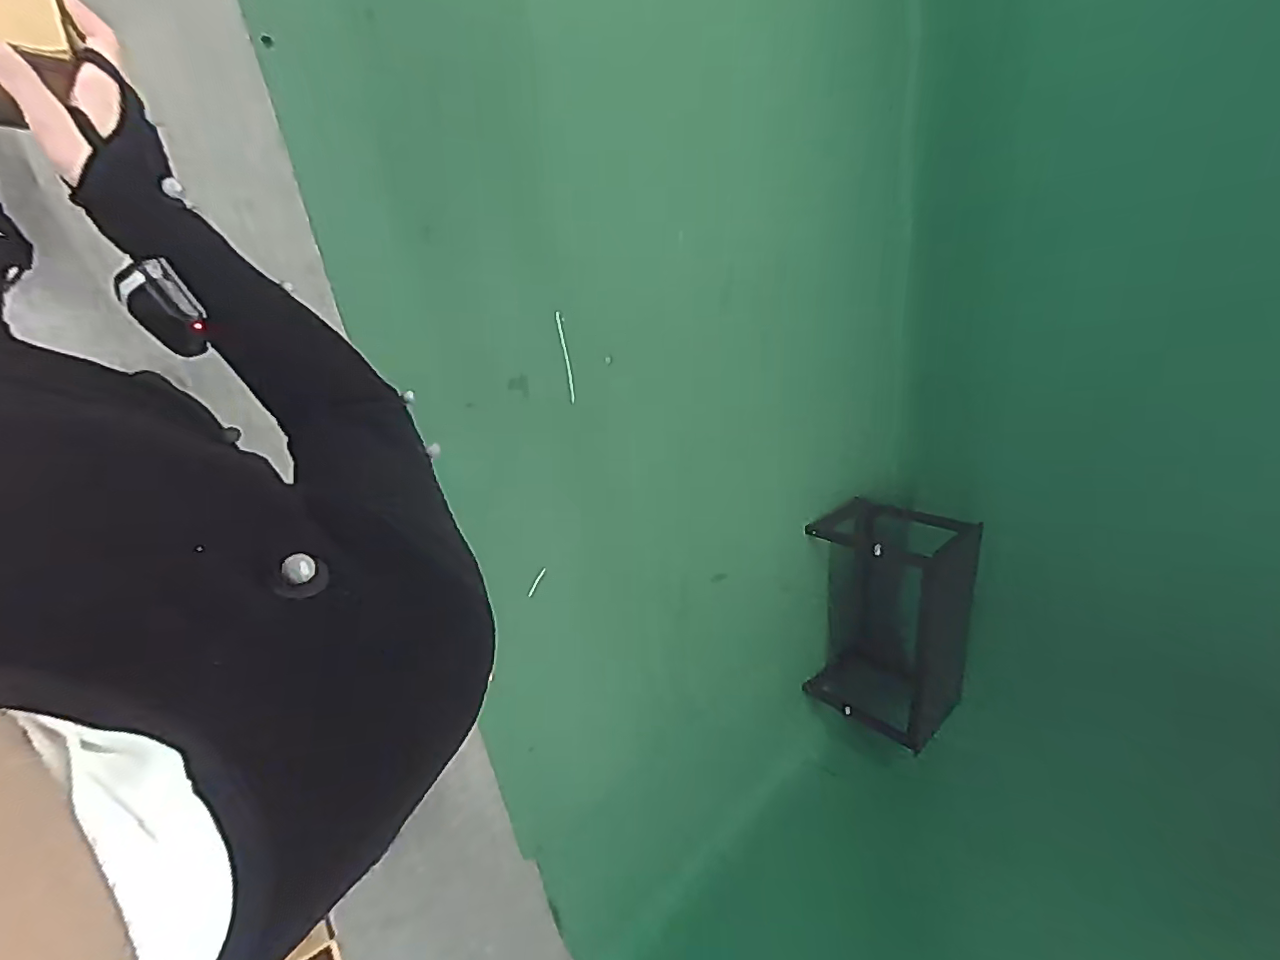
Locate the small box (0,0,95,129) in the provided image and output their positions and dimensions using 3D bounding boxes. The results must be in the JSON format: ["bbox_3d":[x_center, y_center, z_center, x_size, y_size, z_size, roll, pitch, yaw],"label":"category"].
[{"bbox_3d":[-0.551,-0.403,0.404,0.168,0.176,0.179,-14,106,-37],"label":"small box"}]
